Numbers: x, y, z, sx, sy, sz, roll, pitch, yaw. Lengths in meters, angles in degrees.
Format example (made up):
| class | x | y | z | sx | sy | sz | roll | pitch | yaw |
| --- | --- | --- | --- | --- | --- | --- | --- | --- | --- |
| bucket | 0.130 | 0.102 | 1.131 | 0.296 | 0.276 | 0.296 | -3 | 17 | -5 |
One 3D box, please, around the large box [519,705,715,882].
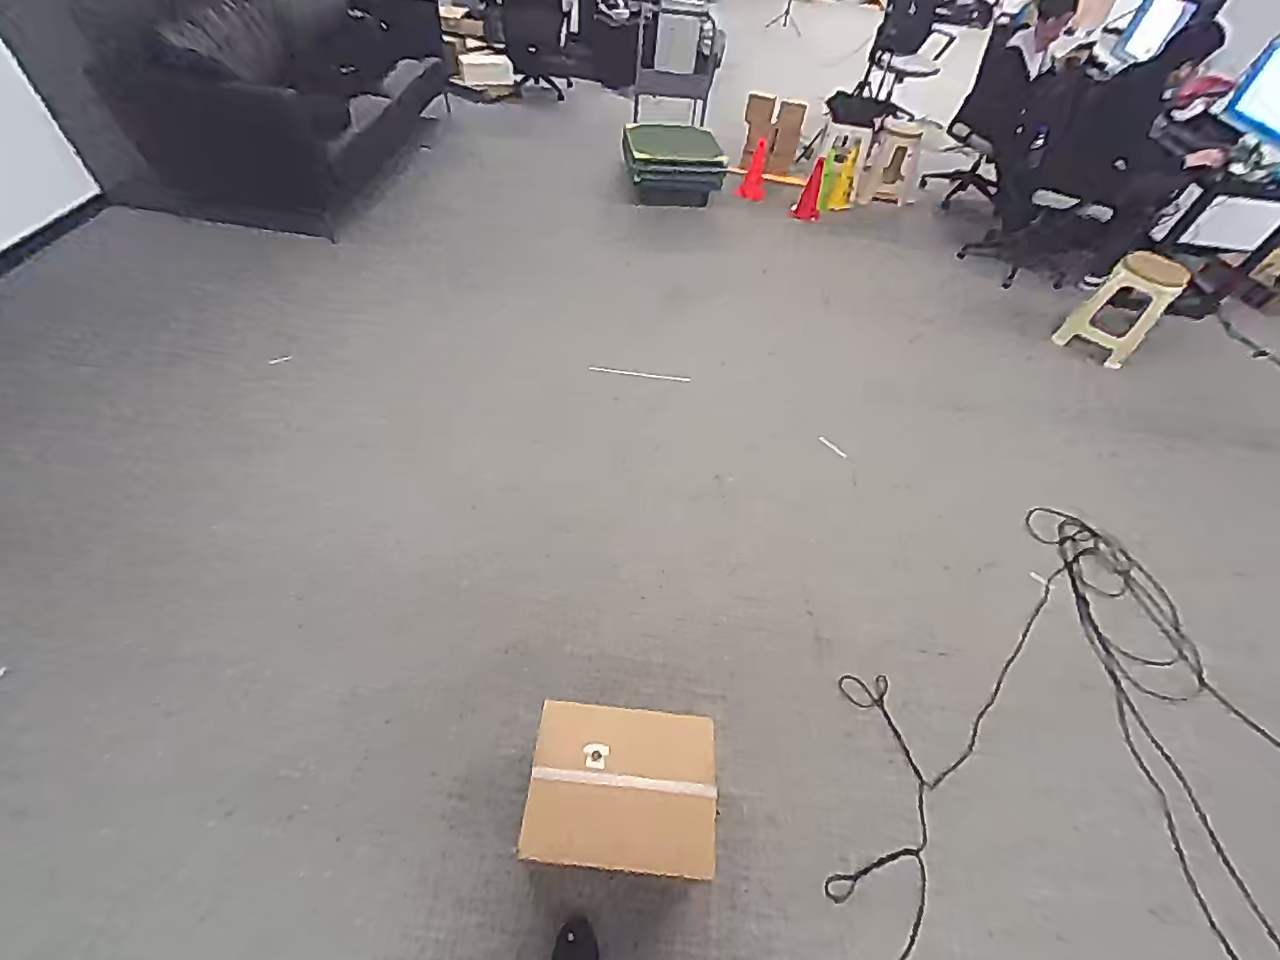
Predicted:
| class | x | y | z | sx | sy | sz | roll | pitch | yaw |
| --- | --- | --- | --- | --- | --- | --- | --- | --- | --- |
| large box | -0.047 | 0.758 | 1.296 | 0.408 | 0.320 | 0.320 | 6 | 49 | -1 |
